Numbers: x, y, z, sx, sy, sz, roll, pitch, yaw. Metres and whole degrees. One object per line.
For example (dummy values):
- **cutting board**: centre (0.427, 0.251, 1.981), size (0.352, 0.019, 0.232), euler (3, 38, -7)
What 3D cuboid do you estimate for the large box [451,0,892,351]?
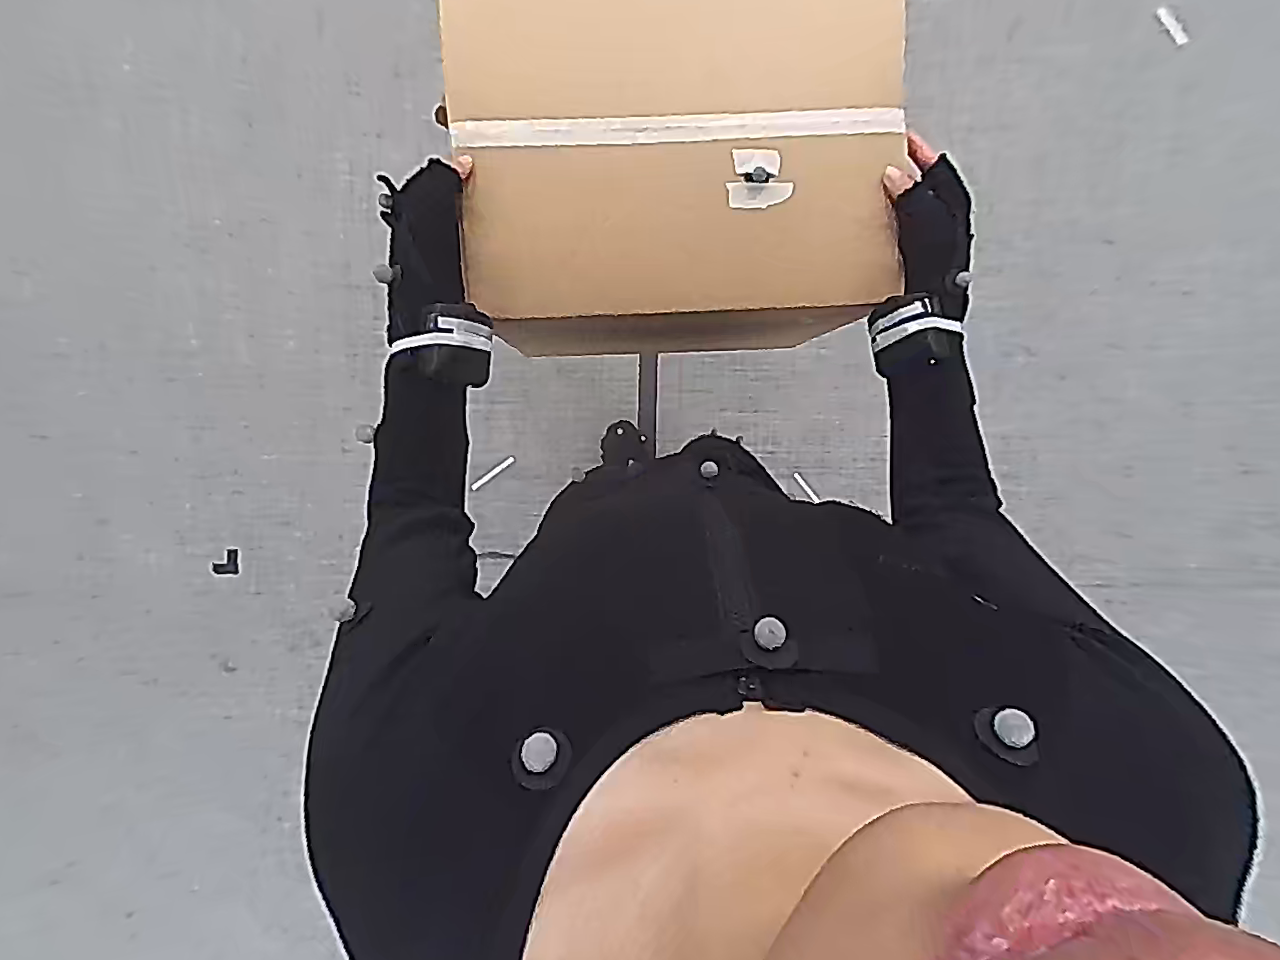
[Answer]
- **large box**: centre (0.028, -0.338, 0.645), size (0.408, 0.320, 0.320), euler (-3, 98, -3)
